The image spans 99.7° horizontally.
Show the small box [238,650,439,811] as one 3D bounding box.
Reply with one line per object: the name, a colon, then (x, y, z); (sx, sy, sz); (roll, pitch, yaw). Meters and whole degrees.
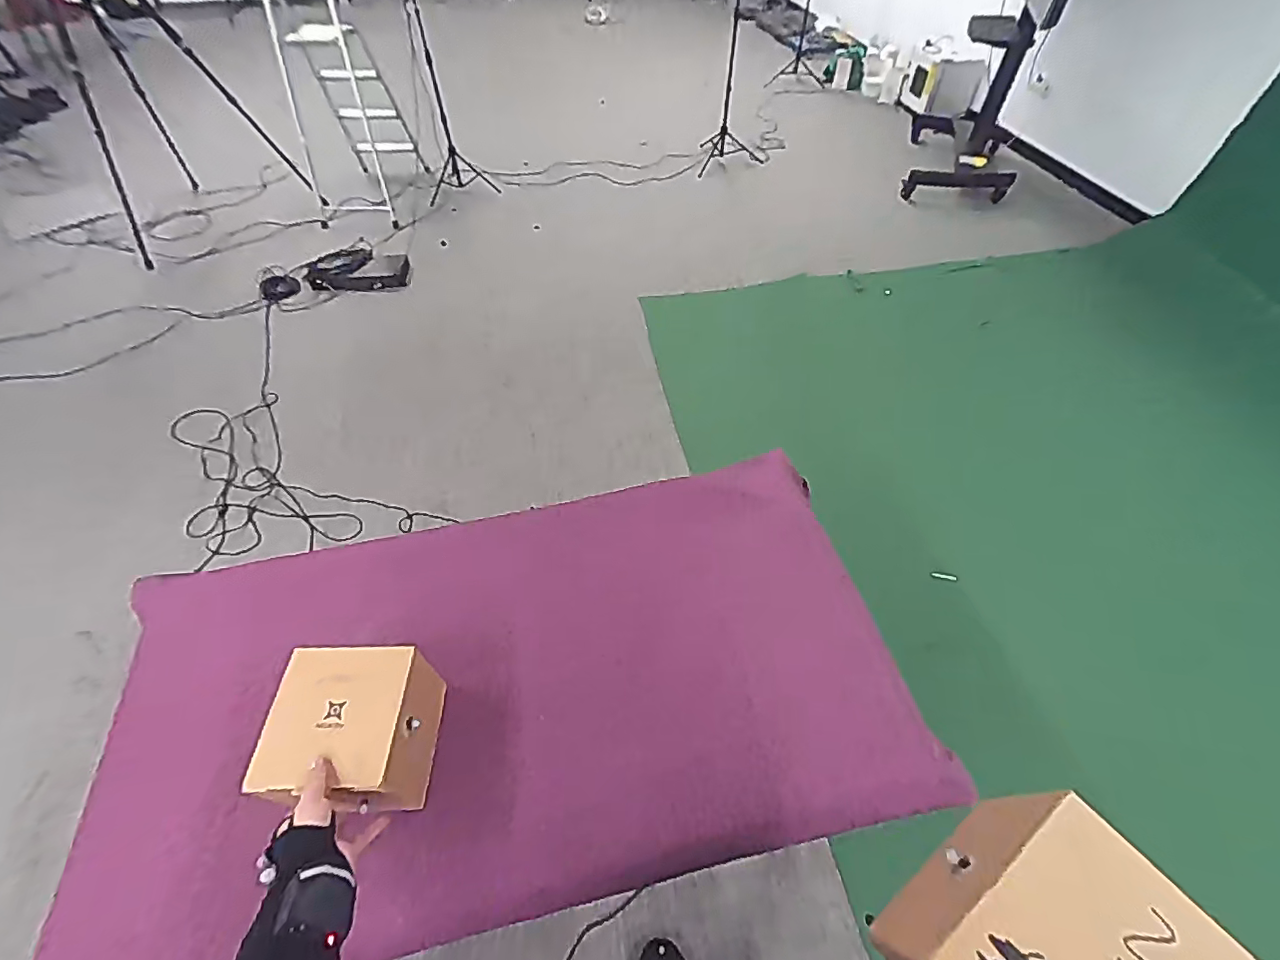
small box: (-0.395, 0.351, 0.750); (0.168, 0.176, 0.179); (0, 52, -2)
